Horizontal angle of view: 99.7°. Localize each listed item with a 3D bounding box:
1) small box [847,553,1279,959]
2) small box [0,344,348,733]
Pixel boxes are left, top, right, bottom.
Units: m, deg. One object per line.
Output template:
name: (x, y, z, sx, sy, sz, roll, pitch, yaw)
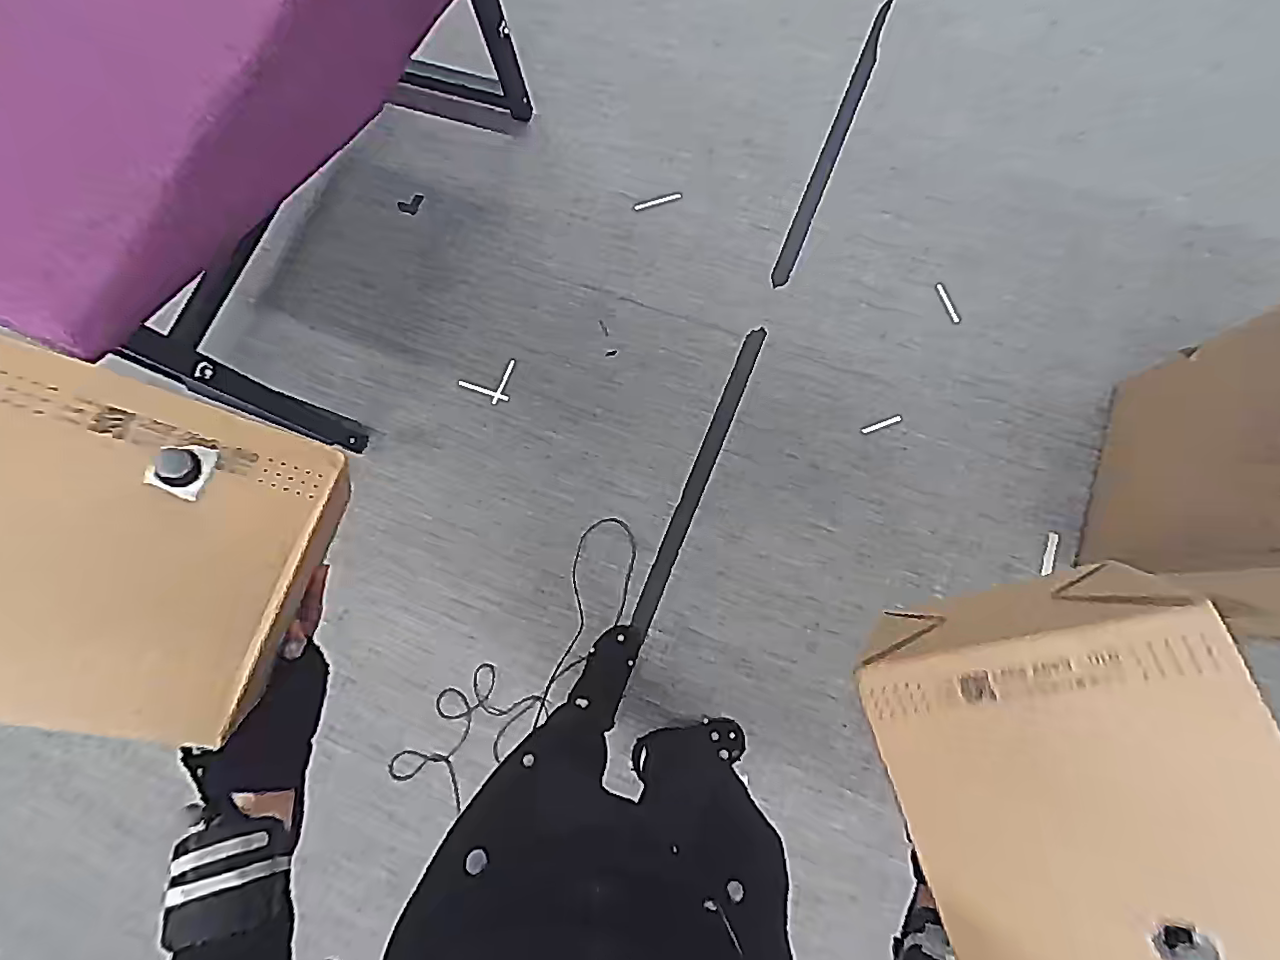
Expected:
small box: (0.250, 0.149, 0.340, 0.168, 0.179, 0.176, -24, 76, 27)
small box: (-0.307, 0.044, 0.350, 0.168, 0.179, 0.176, 21, 70, -21)
